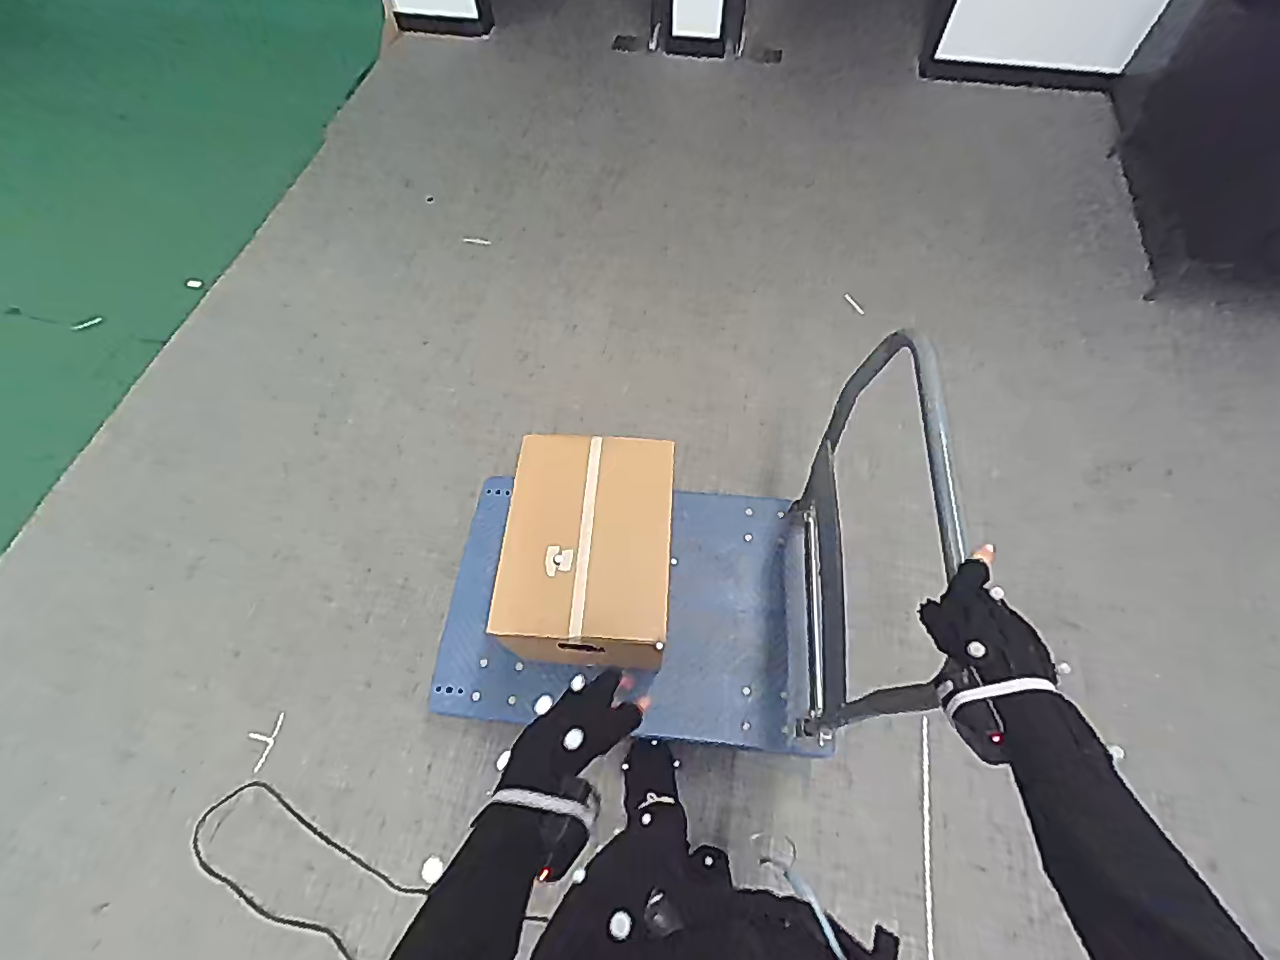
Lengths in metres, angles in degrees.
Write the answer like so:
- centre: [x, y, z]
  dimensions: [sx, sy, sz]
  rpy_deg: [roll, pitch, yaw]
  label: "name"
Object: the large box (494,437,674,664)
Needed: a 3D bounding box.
- centre: [-0.092, 0.158, 1.155]
  dimensions: [0.320, 0.320, 0.408]
  rpy_deg: [2, 64, 4]
  label: "large box"
